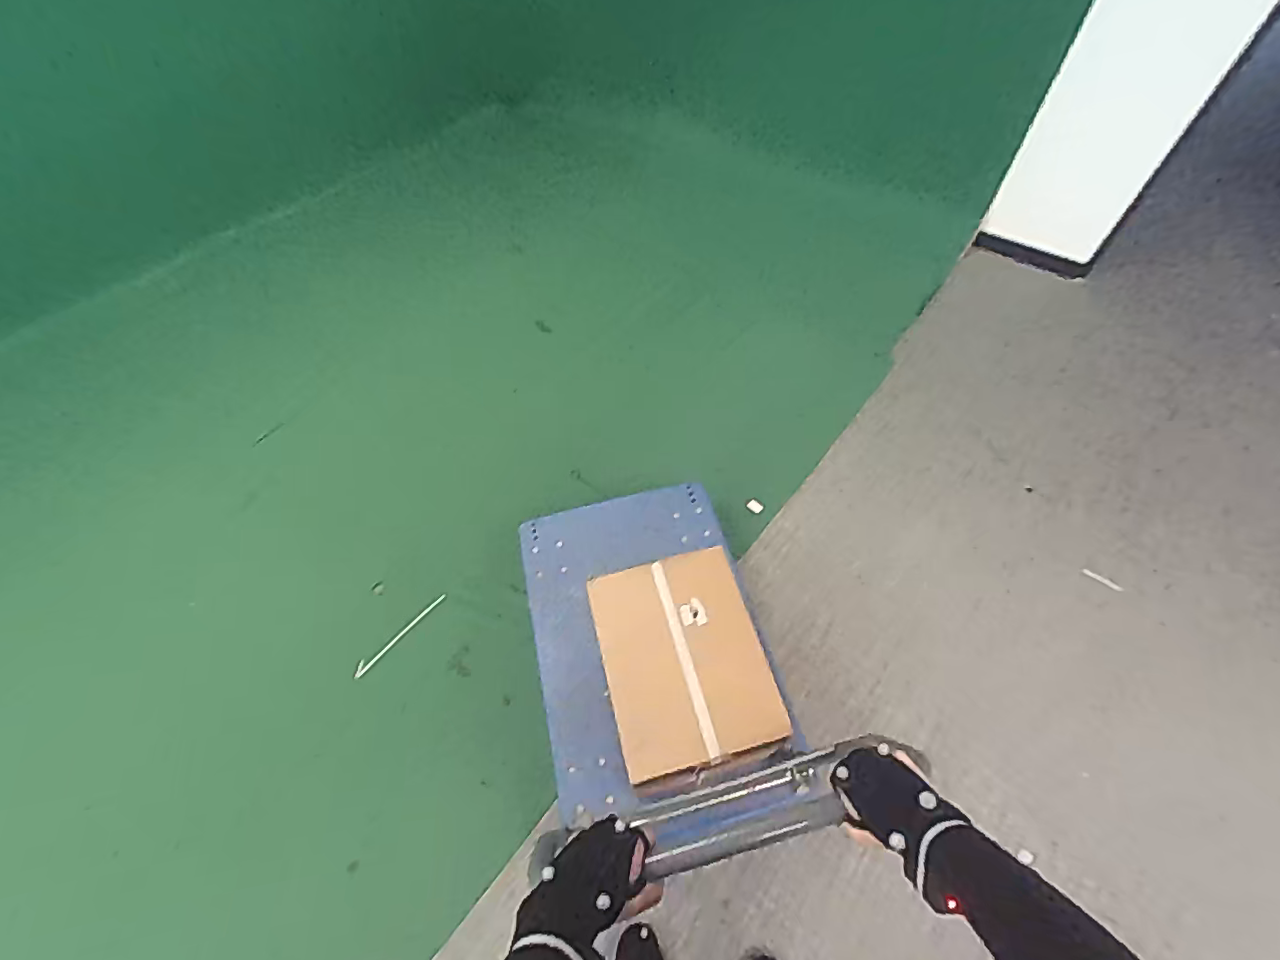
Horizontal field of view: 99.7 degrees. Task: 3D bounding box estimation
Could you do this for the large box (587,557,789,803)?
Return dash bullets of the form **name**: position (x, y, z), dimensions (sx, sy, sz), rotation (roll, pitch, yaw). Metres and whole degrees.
- **large box**: position (0.089, 0.450, 1.218), dimensions (0.320, 0.320, 0.408), rotation (-13, 55, -7)
